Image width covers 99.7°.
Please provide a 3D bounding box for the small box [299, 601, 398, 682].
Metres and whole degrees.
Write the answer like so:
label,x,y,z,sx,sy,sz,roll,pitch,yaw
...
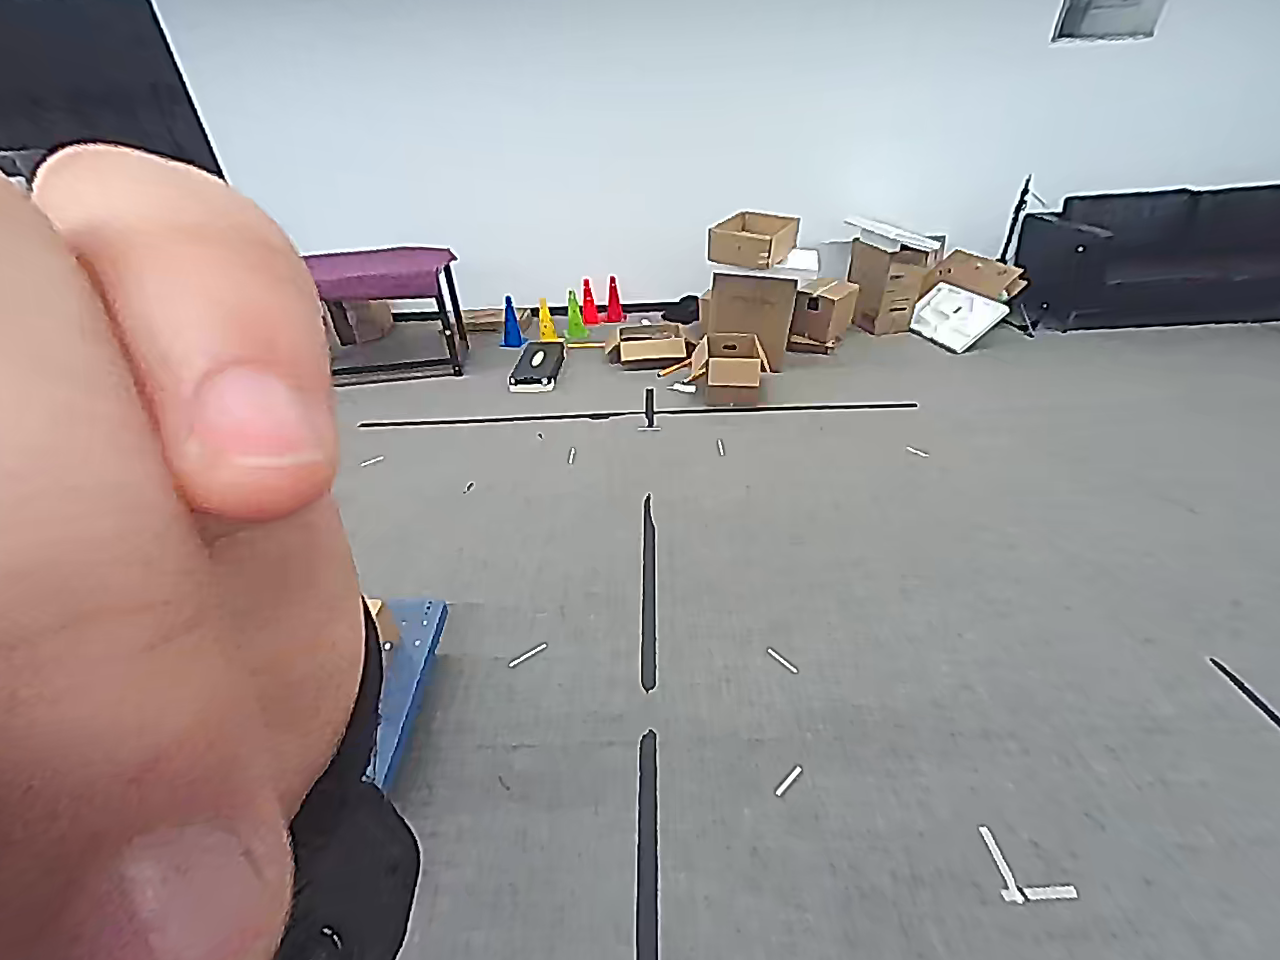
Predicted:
label,x,y,z,sx,sy,sz,roll,pitch,yaw
small box,-0.850,0.476,1.592,0.179,0.176,0.168,0,36,3
